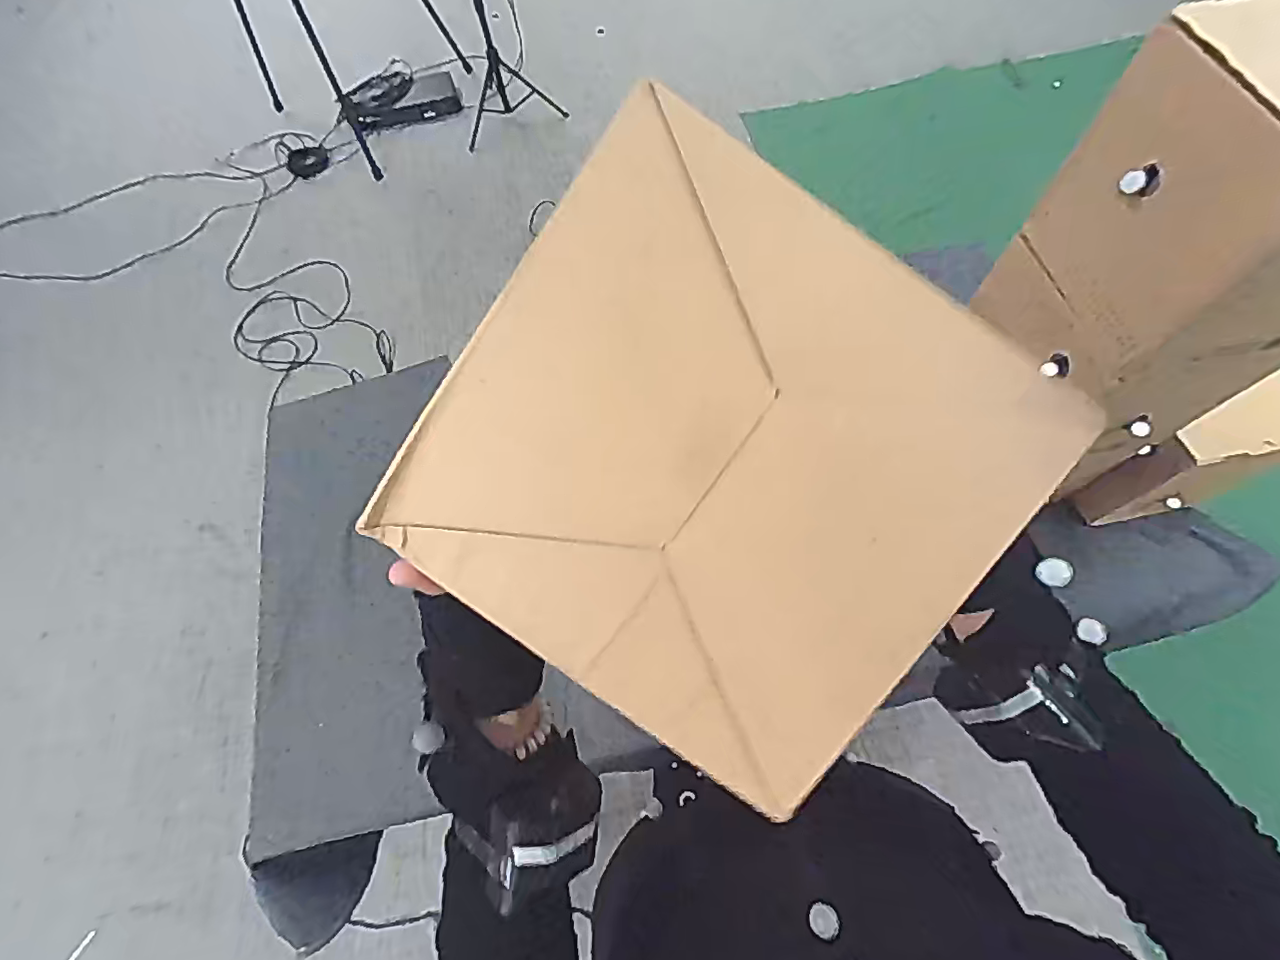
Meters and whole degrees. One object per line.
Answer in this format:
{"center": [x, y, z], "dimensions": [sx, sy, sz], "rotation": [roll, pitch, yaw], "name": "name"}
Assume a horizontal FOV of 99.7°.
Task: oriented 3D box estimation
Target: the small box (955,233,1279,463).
{"center": [0.449, -0.130, 0.537], "dimensions": [0.168, 0.176, 0.179], "rotation": [-11, 64, -1], "name": "small box"}

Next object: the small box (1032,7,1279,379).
{"center": [0.436, -0.200, 0.388], "dimensions": [0.168, 0.176, 0.179], "rotation": [-9, 63, 1], "name": "small box"}

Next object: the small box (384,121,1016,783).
{"center": [0.026, -0.008, 0.253], "dimensions": [0.179, 0.176, 0.168], "rotation": [37, 95, -3], "name": "small box"}
